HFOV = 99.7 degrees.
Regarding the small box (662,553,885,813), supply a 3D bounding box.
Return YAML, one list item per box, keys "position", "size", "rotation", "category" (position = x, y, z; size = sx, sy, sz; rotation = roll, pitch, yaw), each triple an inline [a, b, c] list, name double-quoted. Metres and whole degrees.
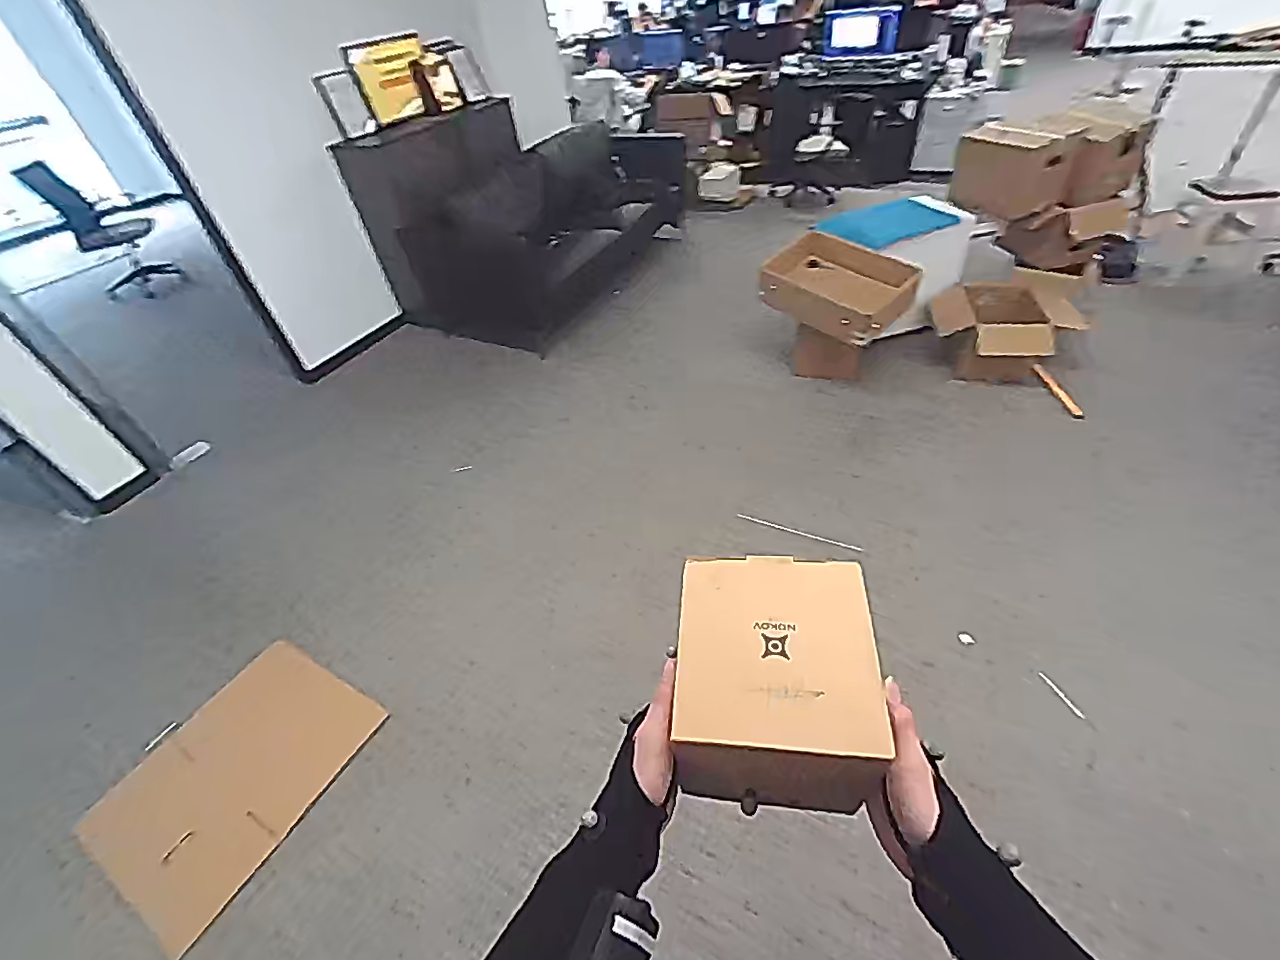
- position: [0.115, 0.190, 0.514]
  size: [0.168, 0.176, 0.179]
  rotation: [0, 47, 10]
  category: "small box"
